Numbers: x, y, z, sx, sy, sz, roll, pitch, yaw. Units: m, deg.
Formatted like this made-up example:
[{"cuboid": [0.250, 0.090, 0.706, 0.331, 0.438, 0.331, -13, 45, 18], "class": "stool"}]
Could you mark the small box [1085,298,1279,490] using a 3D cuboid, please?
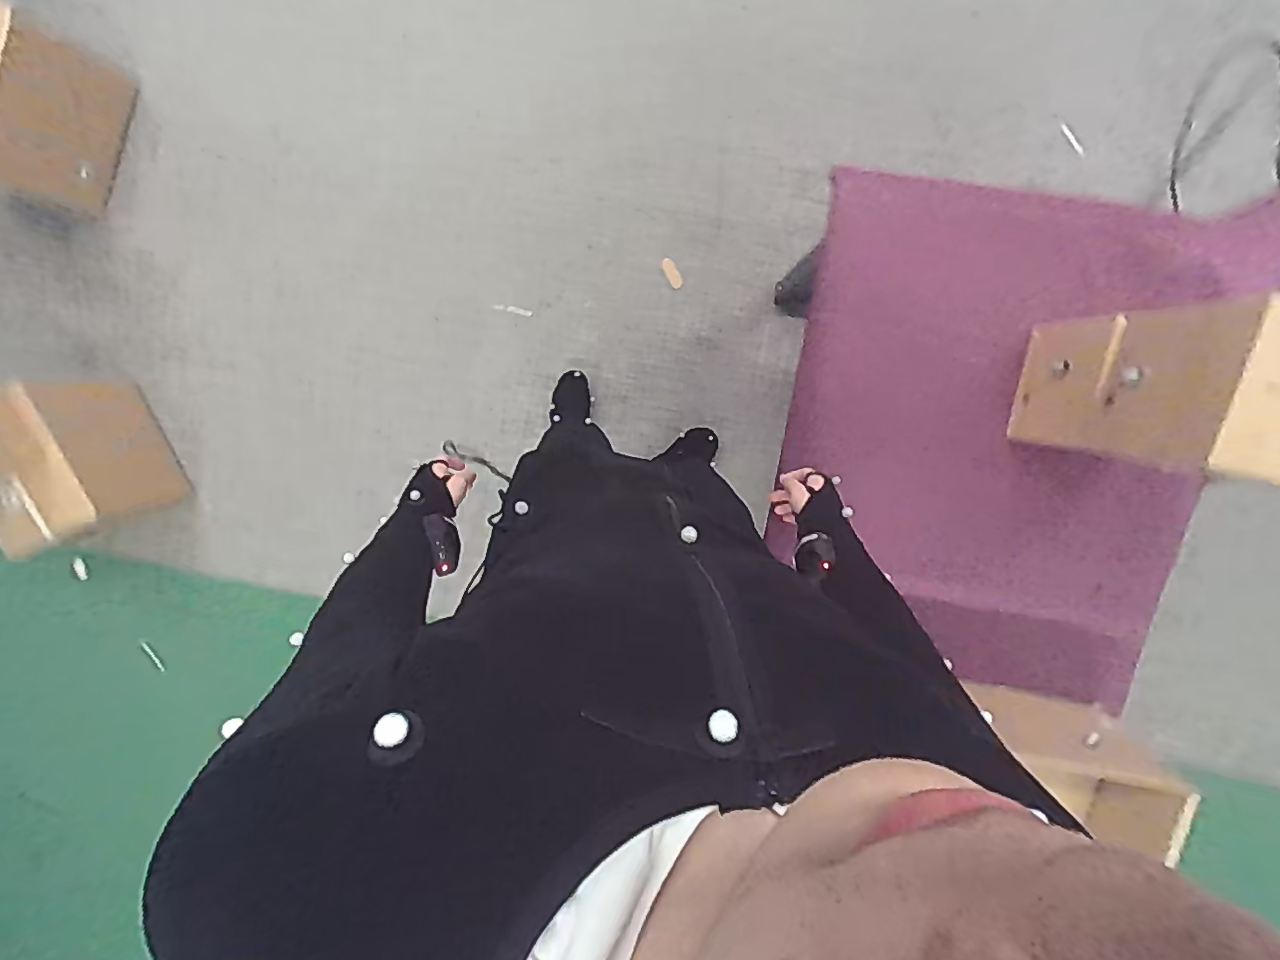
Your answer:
[{"cuboid": [0.649, -0.085, 0.581, 0.179, 0.176, 0.168, 13, 100, 2], "class": "small box"}]

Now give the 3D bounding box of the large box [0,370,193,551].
[{"cuboid": [-1.635, -0.070, 1.559, 0.320, 0.320, 0.408, -22, 99, 8], "class": "large box"}]

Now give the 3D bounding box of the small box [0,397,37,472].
[{"cuboid": [-1.648, -0.105, 1.303, 0.168, 0.176, 0.179, -23, 98, 7], "class": "small box"}]

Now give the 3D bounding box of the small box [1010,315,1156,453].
[{"cuboid": [0.657, -0.120, 0.742, 0.179, 0.176, 0.168, 8, 100, 1], "class": "small box"}]
